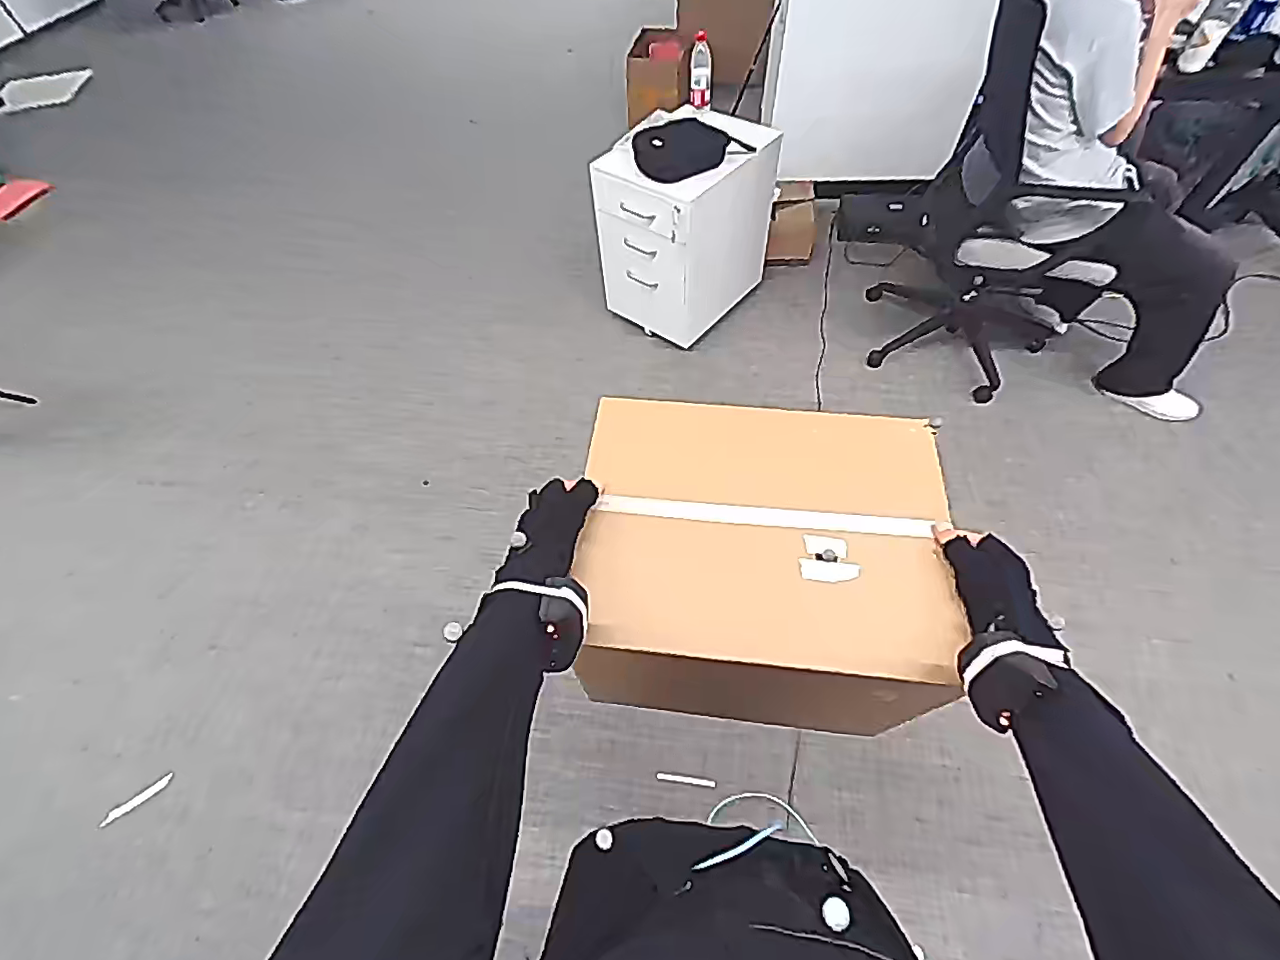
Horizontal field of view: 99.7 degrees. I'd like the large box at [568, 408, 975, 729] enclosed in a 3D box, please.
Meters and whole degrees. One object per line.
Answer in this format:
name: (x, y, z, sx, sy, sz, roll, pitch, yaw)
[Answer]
large box: (0.142, 0.128, 0.730, 0.408, 0.320, 0.320, 5, 59, 6)
